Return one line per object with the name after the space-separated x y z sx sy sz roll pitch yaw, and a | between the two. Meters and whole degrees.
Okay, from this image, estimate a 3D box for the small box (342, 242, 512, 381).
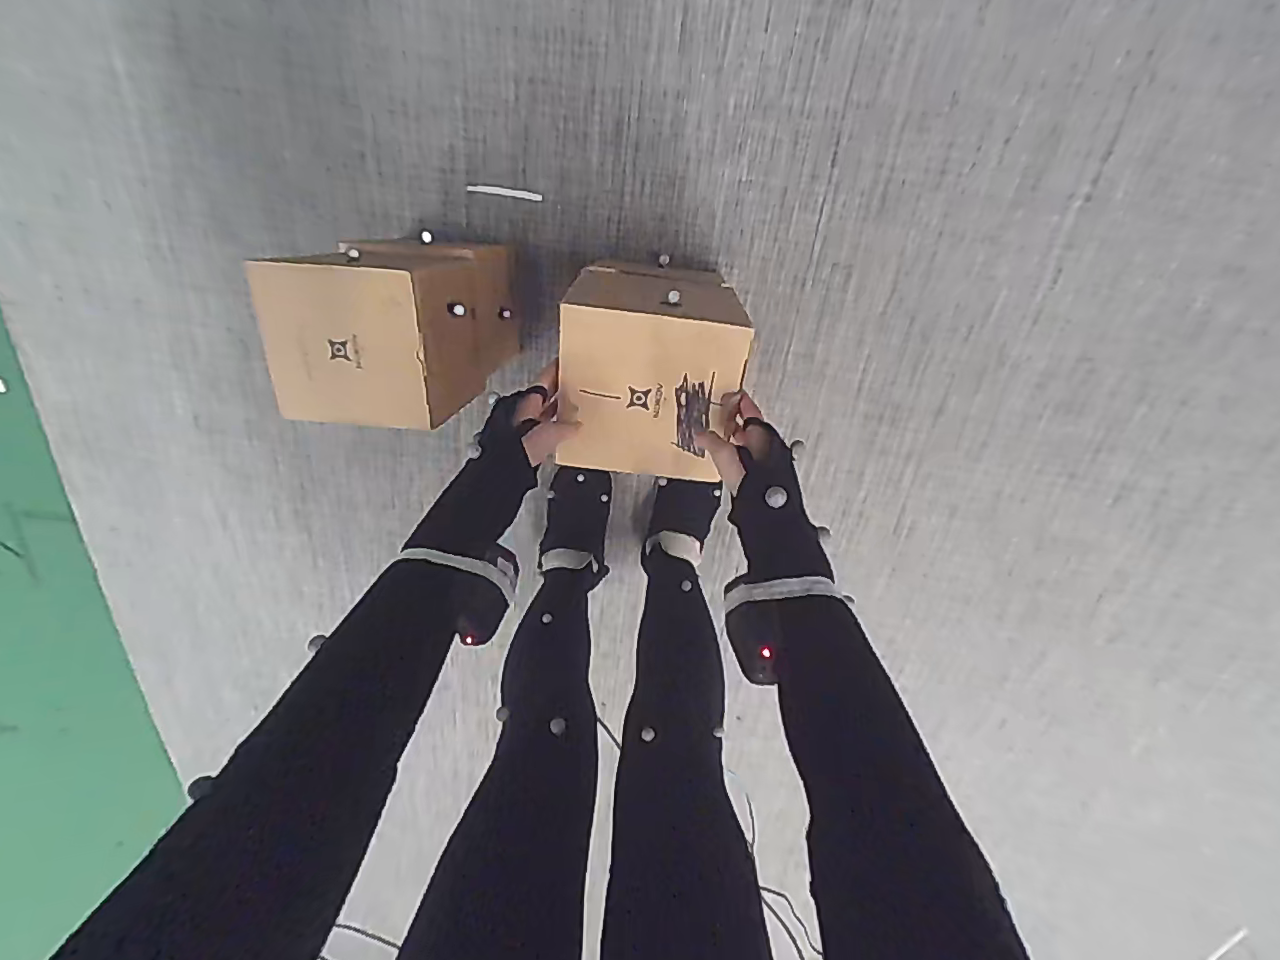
-0.292 -0.252 0.788 0.179 0.176 0.168 5 115 4 | small box

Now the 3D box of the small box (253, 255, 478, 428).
-0.303 -0.173 0.646 0.179 0.176 0.168 6 115 3 | small box

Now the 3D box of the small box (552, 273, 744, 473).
0.003 -0.126 0.606 0.179 0.176 0.168 7 120 -2 | small box
